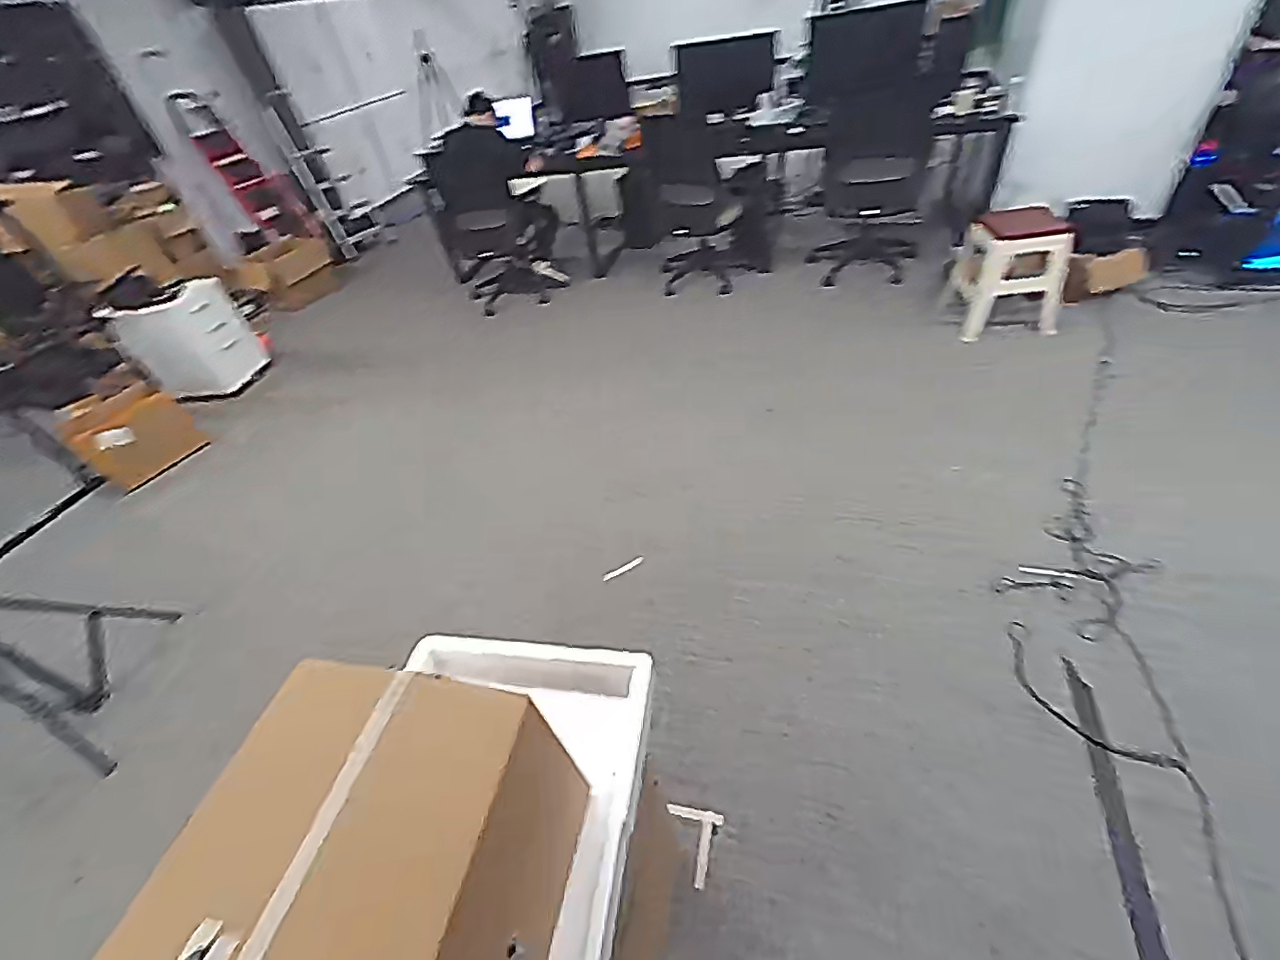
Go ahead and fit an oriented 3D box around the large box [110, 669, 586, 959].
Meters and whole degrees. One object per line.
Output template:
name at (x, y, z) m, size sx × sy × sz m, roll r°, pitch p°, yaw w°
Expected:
large box at (-0.278, 0.474, 0.588) m, size 0.320 × 0.320 × 0.408 m, roll 1°, pitch 46°, yaw 15°
